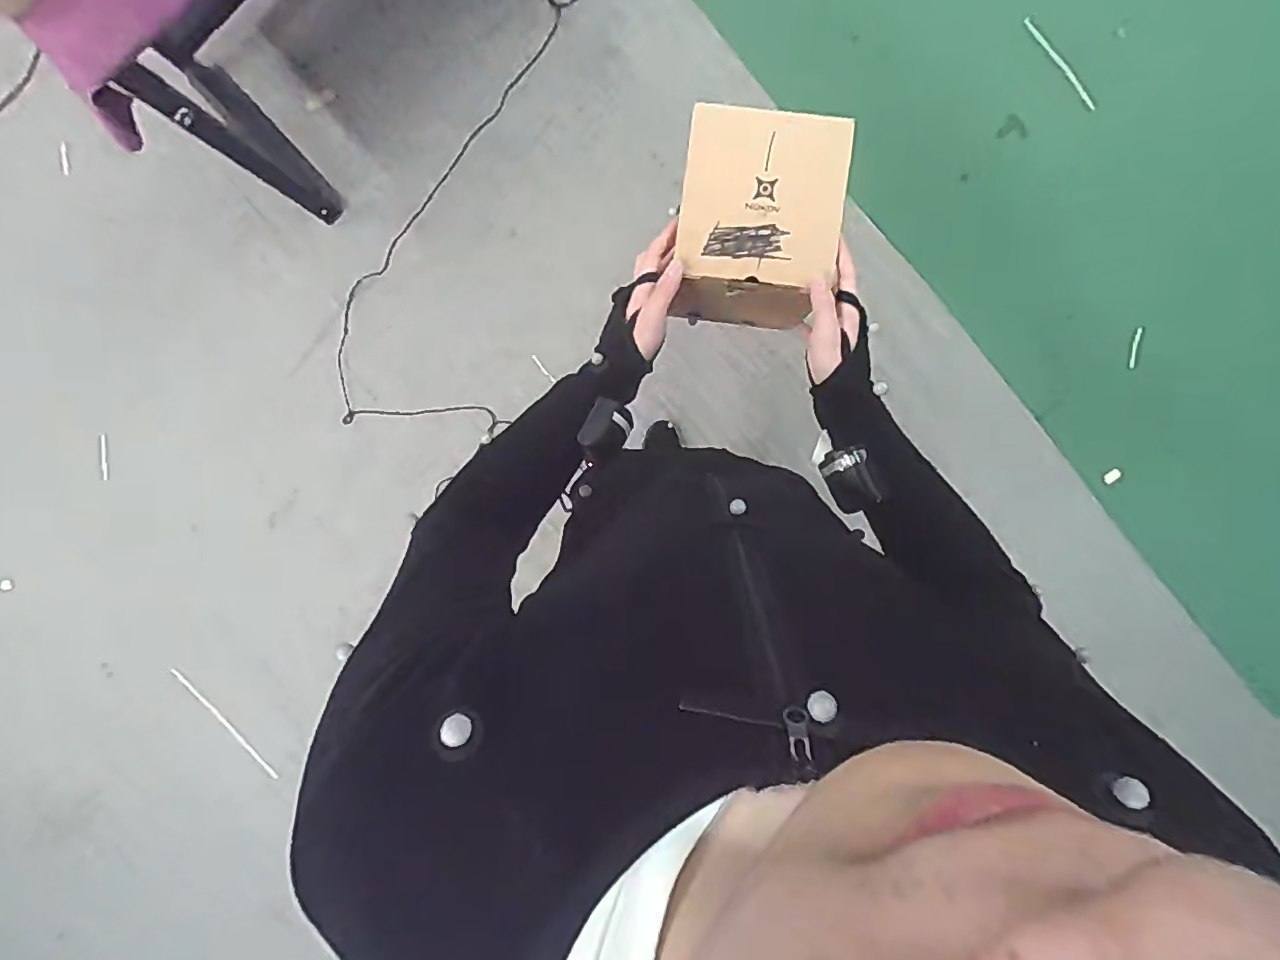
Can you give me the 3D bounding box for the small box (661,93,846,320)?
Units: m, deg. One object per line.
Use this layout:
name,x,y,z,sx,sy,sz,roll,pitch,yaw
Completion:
small box,0.117,-0.294,0.621,0.168,0.176,0.179,7,92,1
